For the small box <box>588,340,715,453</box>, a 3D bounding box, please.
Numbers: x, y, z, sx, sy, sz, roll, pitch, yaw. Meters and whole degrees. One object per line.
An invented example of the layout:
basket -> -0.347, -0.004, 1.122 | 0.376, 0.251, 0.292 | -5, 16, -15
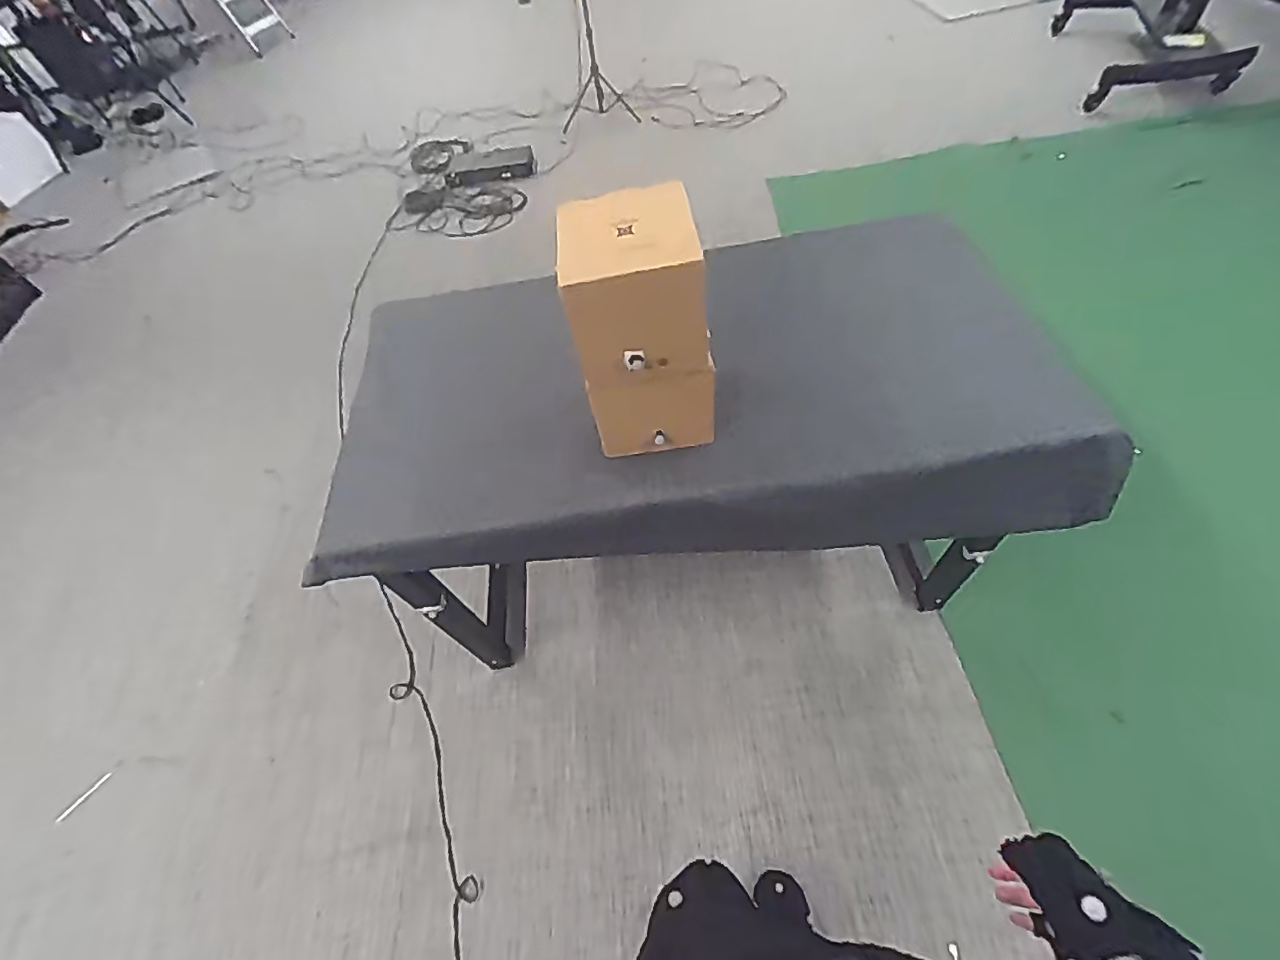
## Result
small box -> 0.018, -0.161, 0.837 | 0.179, 0.176, 0.168 | -8, 55, 3

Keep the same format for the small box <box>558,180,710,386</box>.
small box -> -0.005, -0.251, 0.704 | 0.168, 0.176, 0.179 | -10, 56, 5
